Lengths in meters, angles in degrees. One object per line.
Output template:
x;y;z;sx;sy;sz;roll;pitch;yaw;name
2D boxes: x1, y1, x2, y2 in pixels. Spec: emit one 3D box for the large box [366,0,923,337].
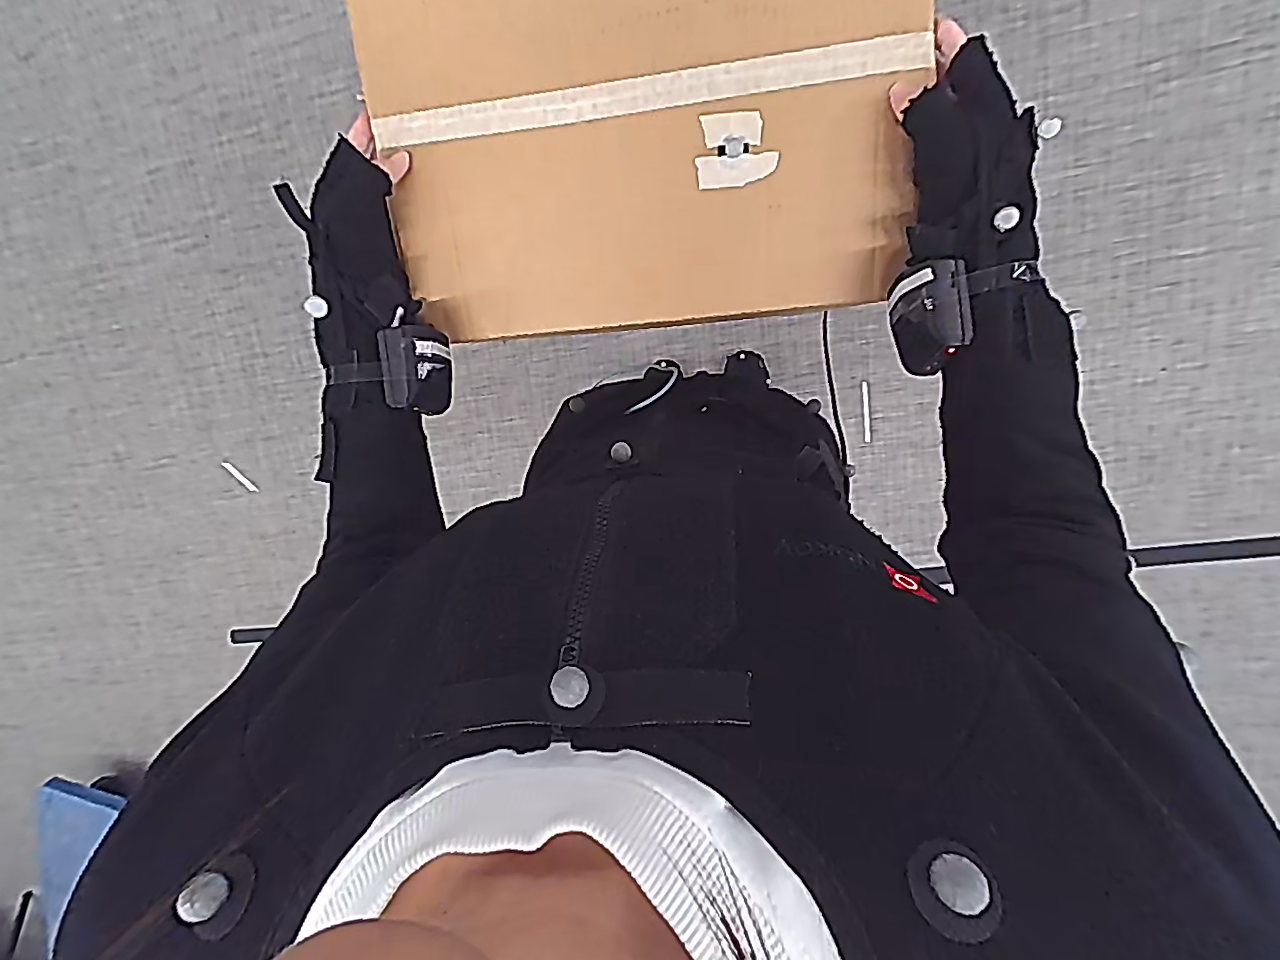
0.012;-0.325;0.545;0.408;0.320;0.320;-4;106;6;large box
